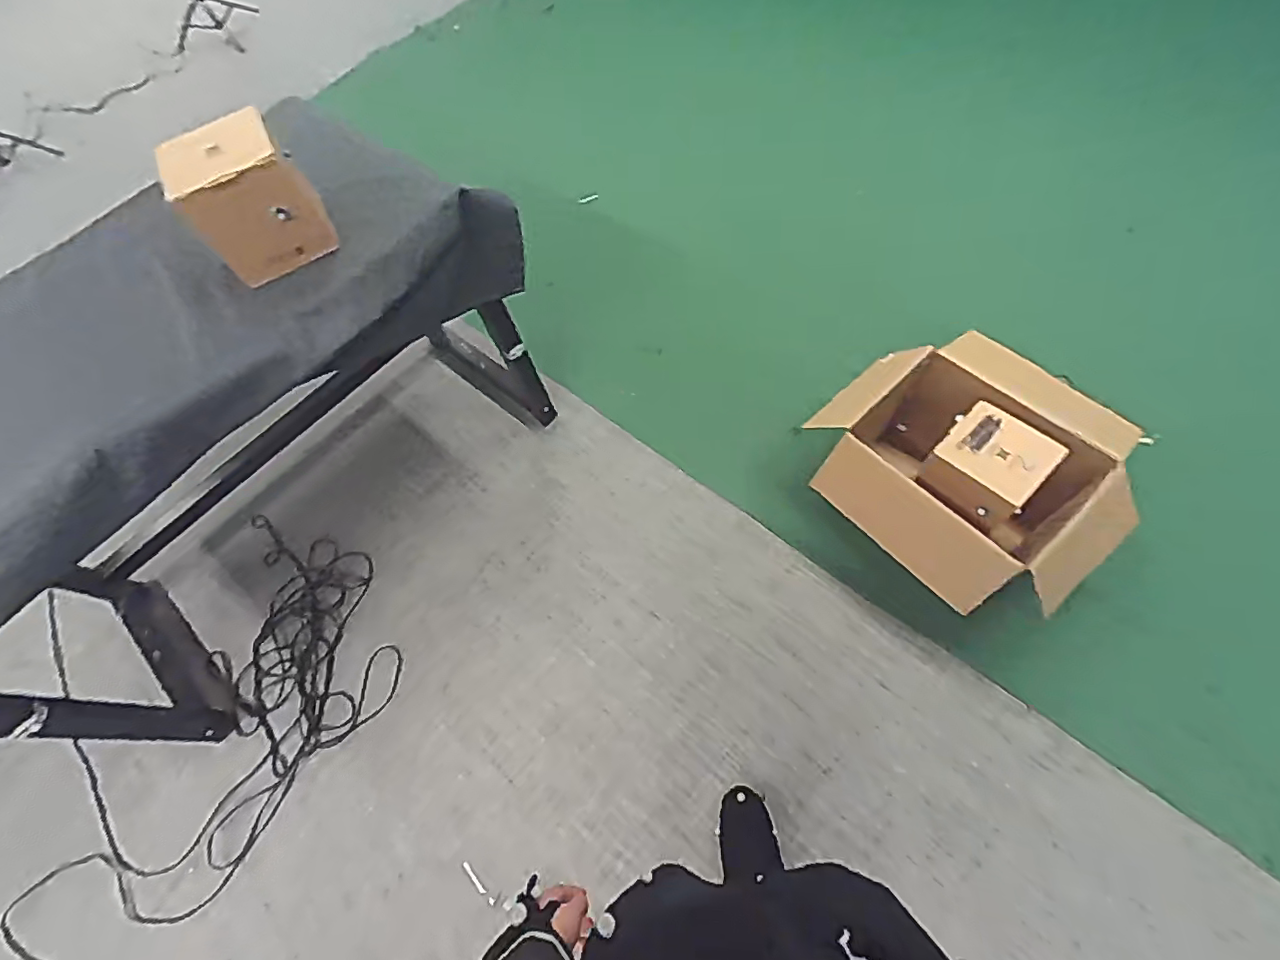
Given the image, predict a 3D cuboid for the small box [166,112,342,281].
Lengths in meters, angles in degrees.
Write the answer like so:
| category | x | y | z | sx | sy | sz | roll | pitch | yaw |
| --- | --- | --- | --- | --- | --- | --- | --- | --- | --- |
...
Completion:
| category | x | y | z | sx | sy | sz | roll | pitch | yaw |
| --- | --- | --- | --- | --- | --- | --- | --- | --- | --- |
| small box | -0.634 | -0.462 | 0.903 | 0.168 | 0.176 | 0.179 | -30 | 61 | -8 |
